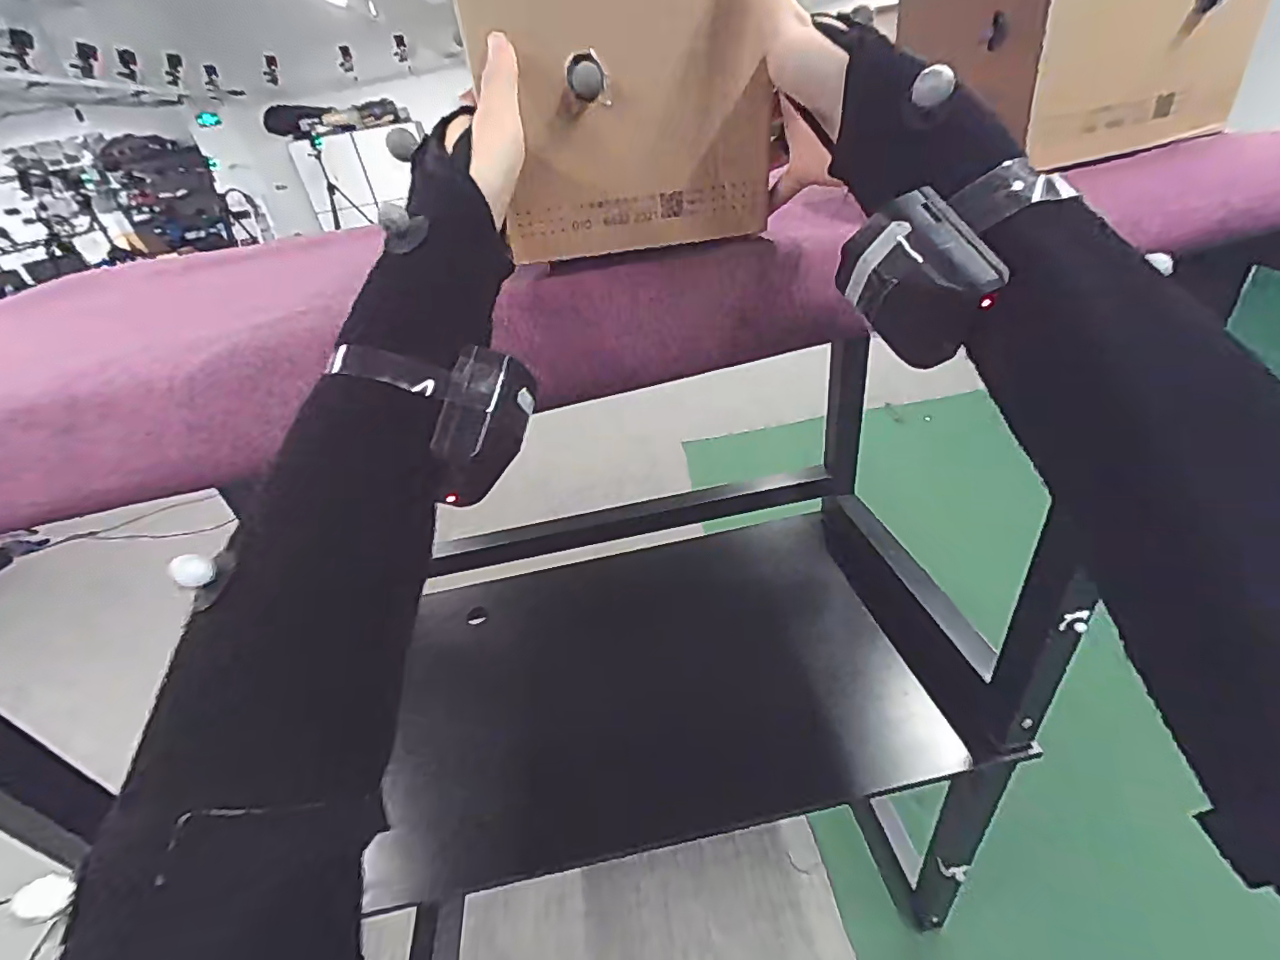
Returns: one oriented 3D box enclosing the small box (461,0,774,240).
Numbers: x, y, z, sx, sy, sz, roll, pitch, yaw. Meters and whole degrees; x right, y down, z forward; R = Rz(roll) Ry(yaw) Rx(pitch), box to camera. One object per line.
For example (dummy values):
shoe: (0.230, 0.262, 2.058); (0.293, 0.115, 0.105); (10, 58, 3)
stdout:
small box: (-0.014, -0.266, 0.355); (0.168, 0.176, 0.179); (-9, 35, -3)

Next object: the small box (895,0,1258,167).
small box: (0.323, -0.352, 0.418); (0.168, 0.176, 0.179); (-12, 32, -3)
